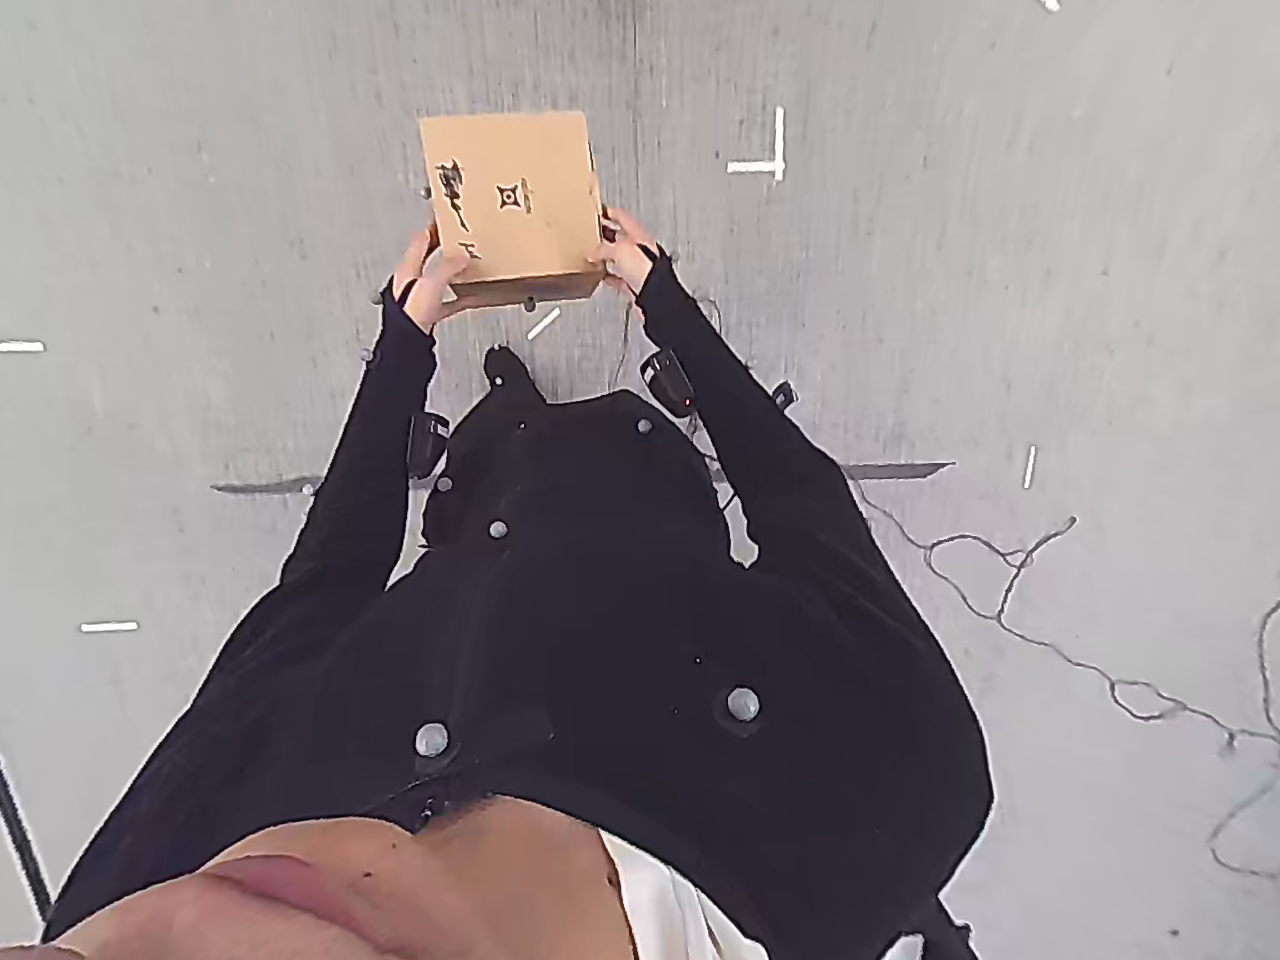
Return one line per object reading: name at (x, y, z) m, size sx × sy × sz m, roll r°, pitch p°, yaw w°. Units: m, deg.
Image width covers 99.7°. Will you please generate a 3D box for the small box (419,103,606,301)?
small box at (-0.146, -0.315, 0.642) m, size 0.179 × 0.176 × 0.168 m, roll -8°, pitch 100°, yaw -11°
